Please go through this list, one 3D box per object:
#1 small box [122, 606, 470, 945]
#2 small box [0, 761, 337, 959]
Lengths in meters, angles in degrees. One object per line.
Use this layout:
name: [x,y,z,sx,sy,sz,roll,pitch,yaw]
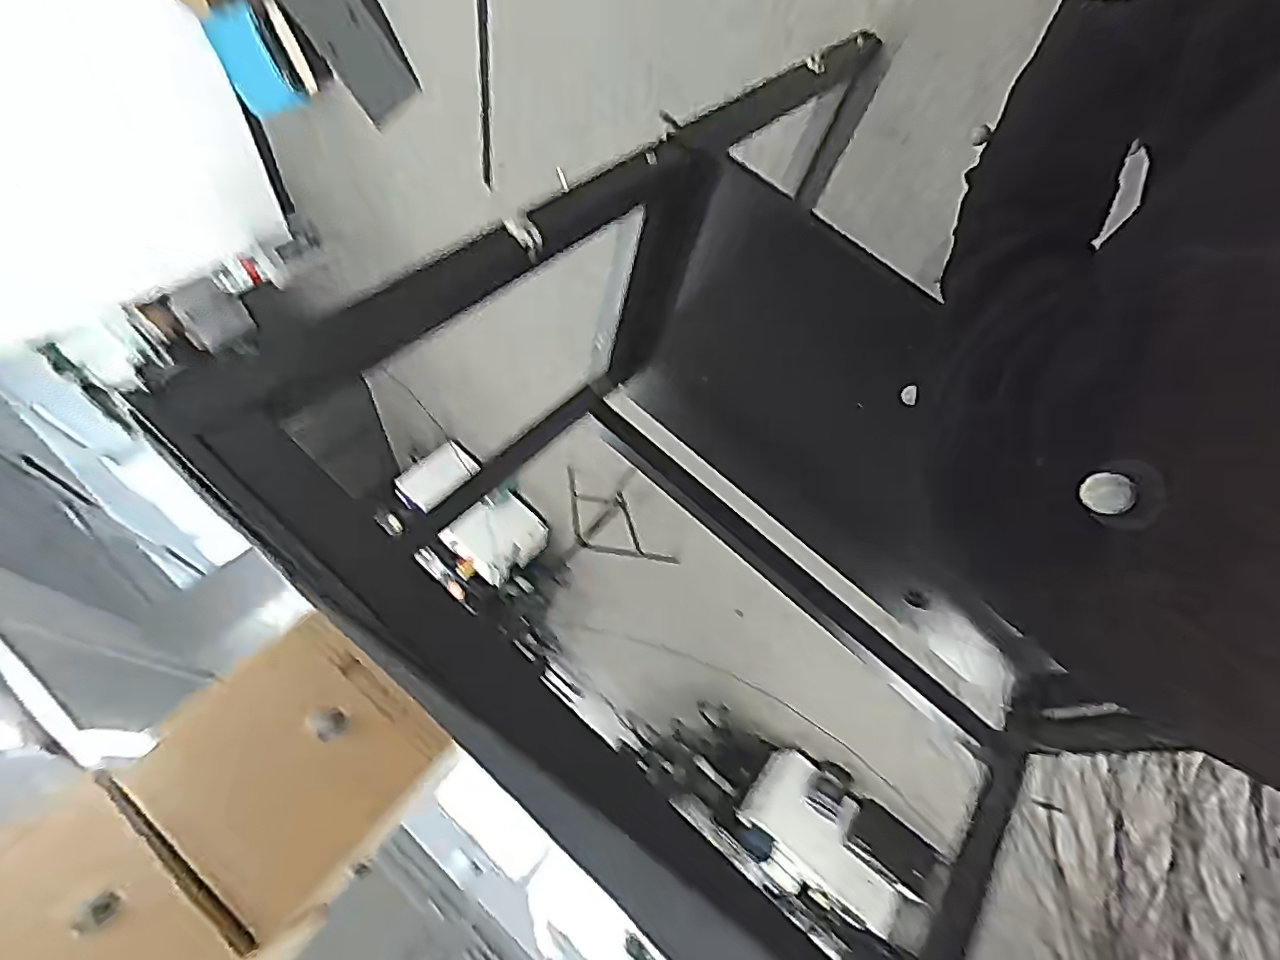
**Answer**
small box: [-0.268,0.239,0.477,0.168,0.176,0.179,40,152,7]
small box: [-0.371,0.338,0.388,0.179,0.176,0.168,39,152,12]
